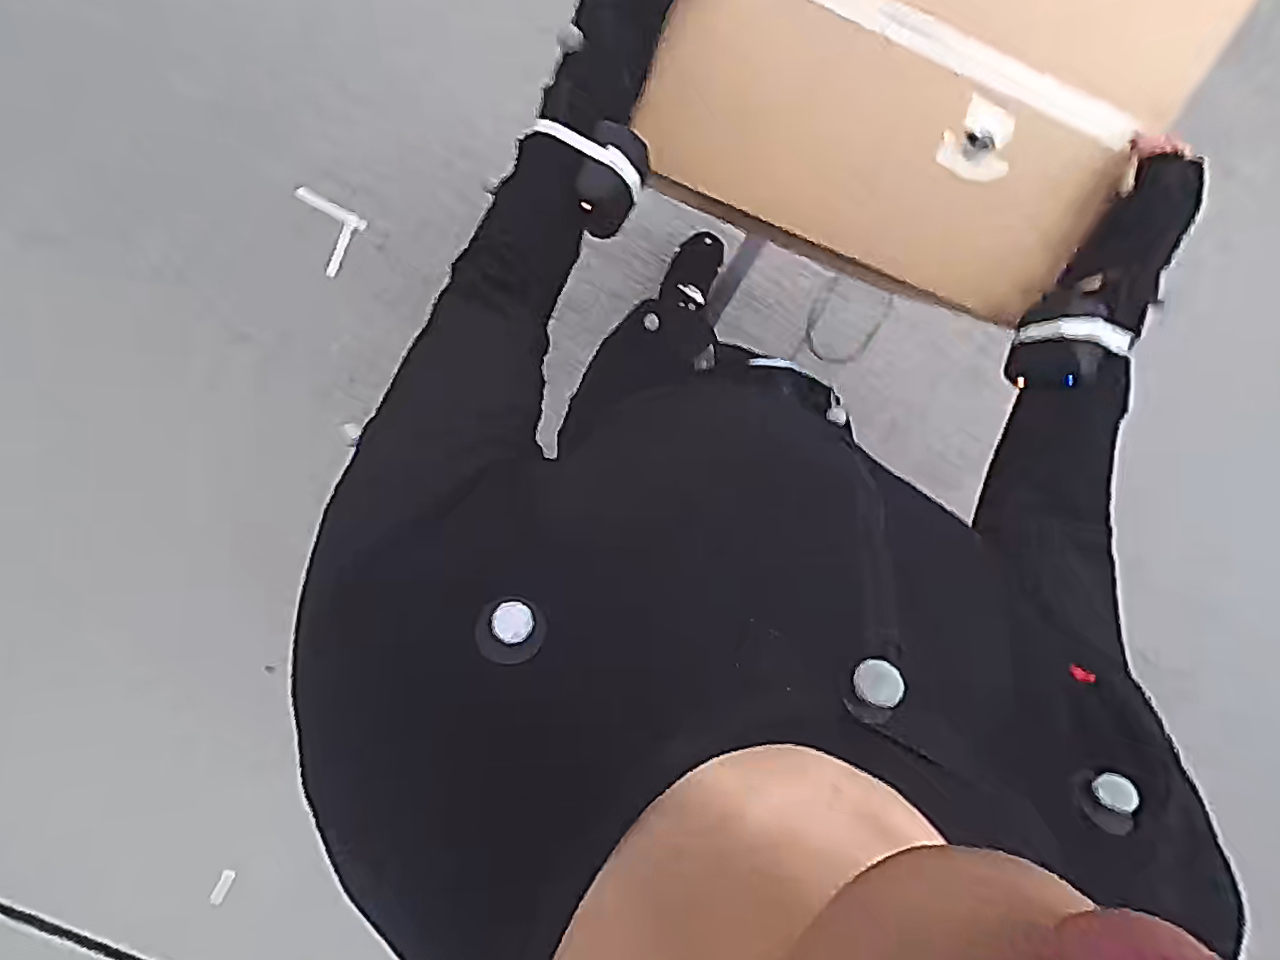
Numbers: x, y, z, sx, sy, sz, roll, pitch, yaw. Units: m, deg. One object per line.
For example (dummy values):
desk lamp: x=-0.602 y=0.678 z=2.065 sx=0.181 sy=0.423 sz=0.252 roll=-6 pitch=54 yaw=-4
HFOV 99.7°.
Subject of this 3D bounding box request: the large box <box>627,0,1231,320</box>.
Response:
large box: x=0.225 y=-0.406 z=0.556 sx=0.408 sy=0.320 sz=0.320 roll=20 pitch=116 yaw=-8
